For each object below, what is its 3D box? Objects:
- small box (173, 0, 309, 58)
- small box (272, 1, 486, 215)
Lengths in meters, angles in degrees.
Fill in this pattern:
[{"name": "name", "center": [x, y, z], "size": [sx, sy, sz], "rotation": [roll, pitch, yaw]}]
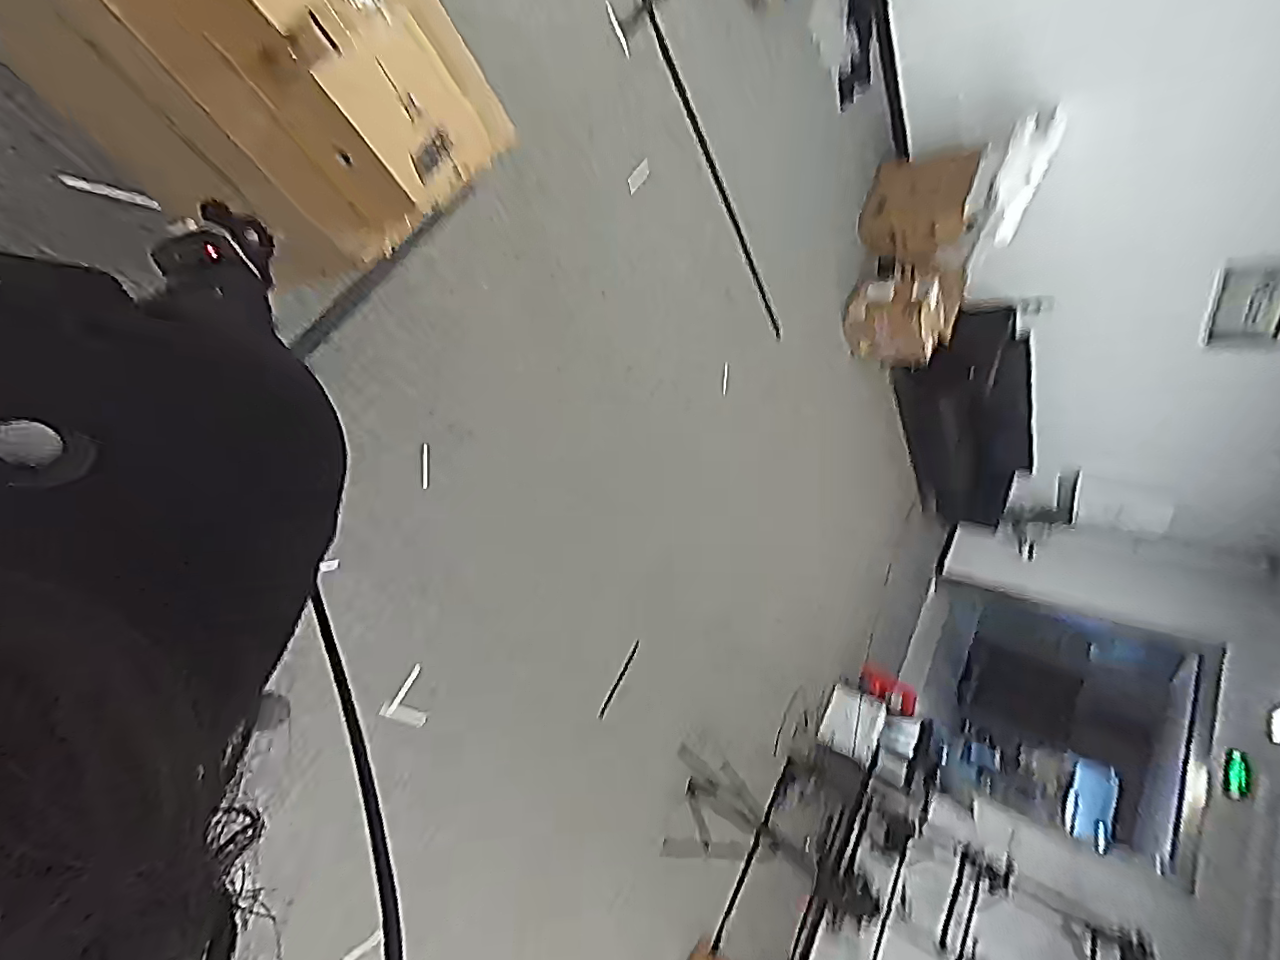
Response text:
[{"name": "small box", "center": [-0.462, -0.625, 0.599], "size": [0.168, 0.176, 0.179], "rotation": [-60, 138, -16]}, {"name": "small box", "center": [-0.359, -0.495, 0.749], "size": [0.168, 0.176, 0.179], "rotation": [-57, 134, -21]}]
